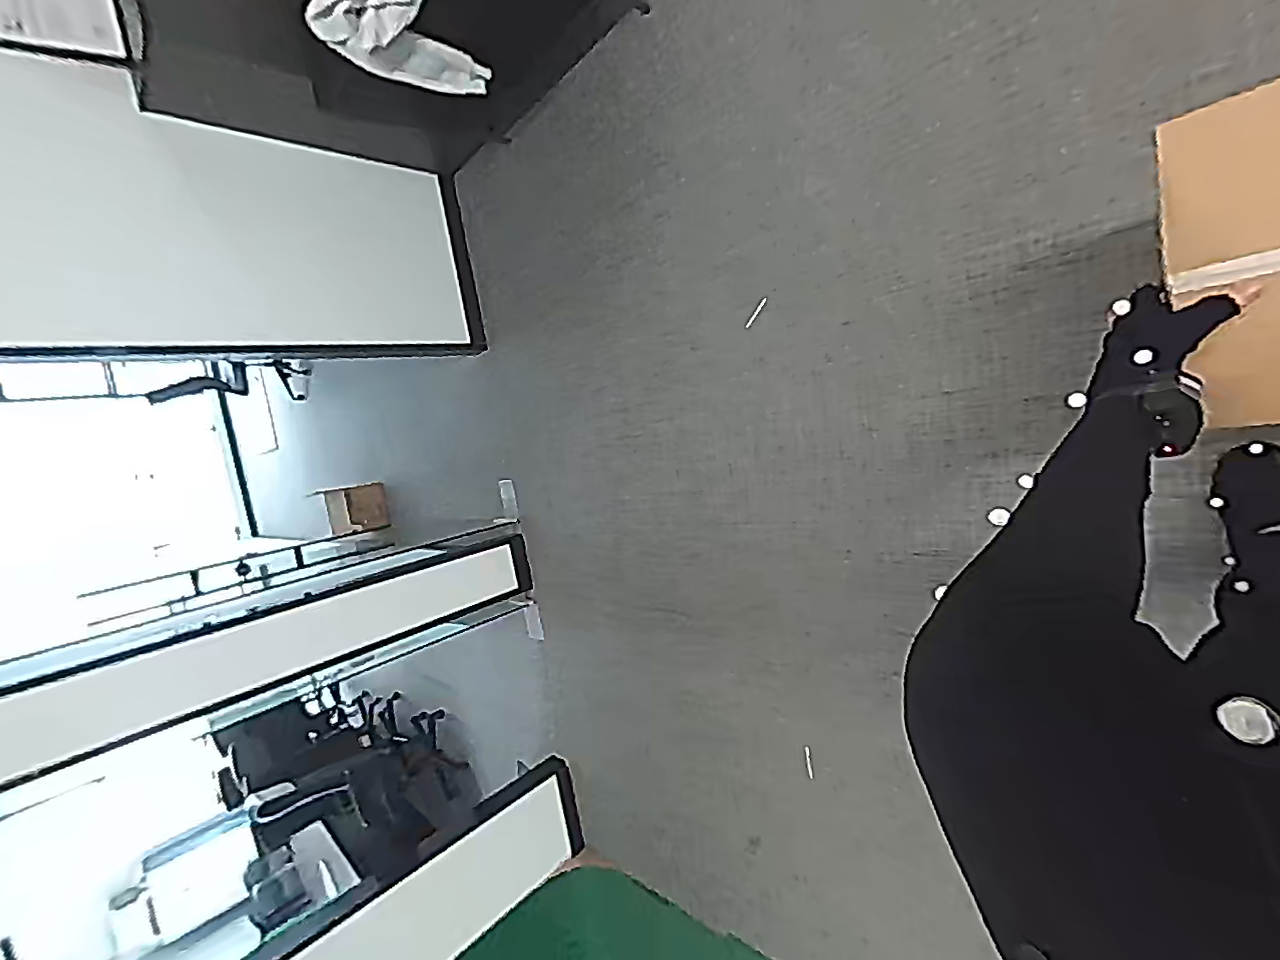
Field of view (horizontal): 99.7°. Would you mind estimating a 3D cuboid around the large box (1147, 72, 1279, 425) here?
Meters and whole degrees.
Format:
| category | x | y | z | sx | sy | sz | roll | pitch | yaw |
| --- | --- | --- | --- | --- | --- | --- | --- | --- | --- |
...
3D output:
| category | x | y | z | sx | sy | sz | roll | pitch | yaw |
| --- | --- | --- | --- | --- | --- | --- | --- | --- | --- |
| large box | 0.778 | -0.259 | 0.512 | 0.408 | 0.320 | 0.320 | -5 | 102 | 46 |
